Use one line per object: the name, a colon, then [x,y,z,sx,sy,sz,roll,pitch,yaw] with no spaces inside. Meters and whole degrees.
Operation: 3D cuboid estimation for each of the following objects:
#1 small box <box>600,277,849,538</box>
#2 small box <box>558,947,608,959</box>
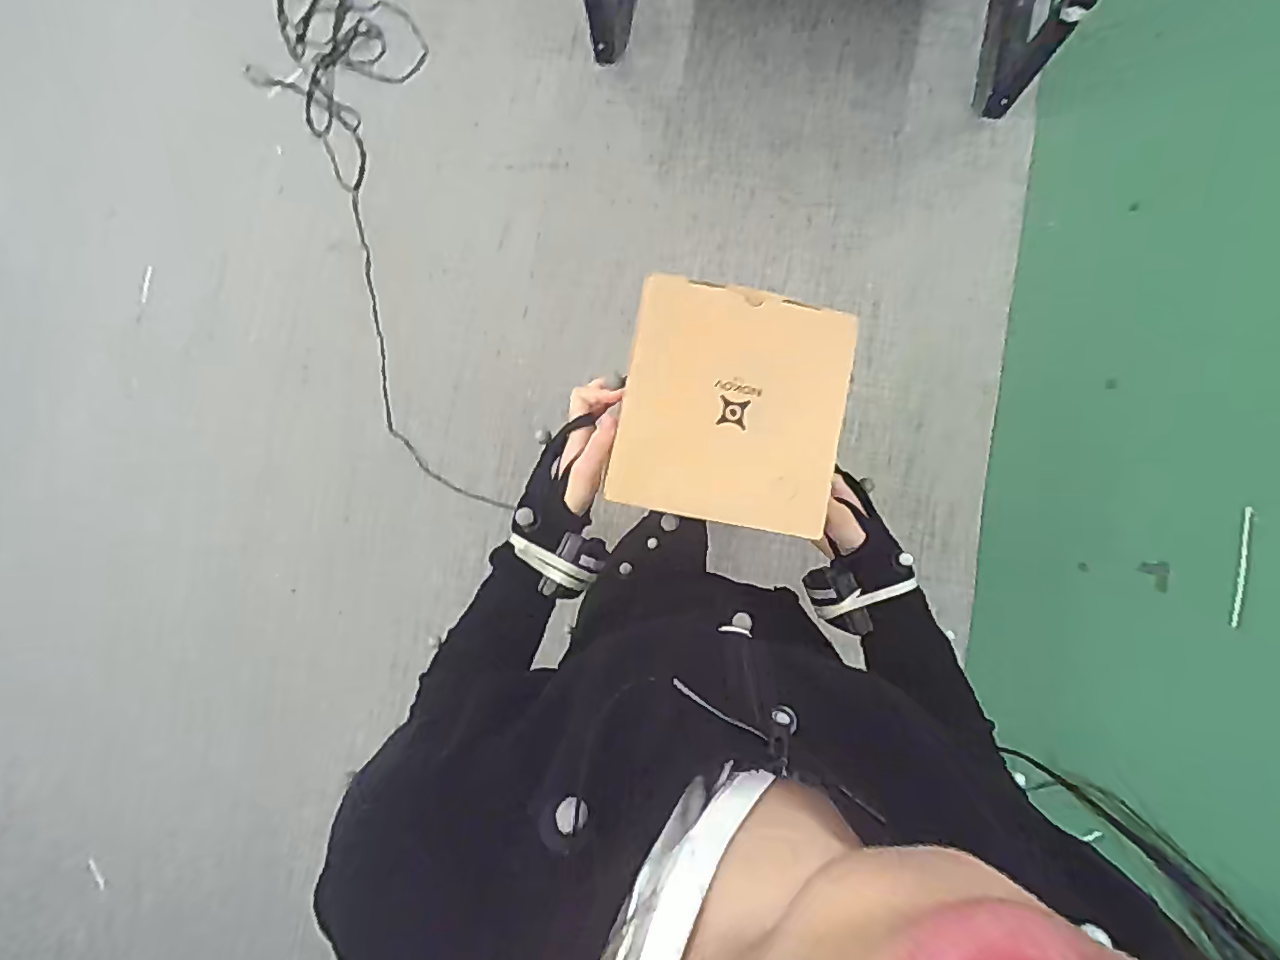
small box: [0.063,-0.051,0.488,0.168,0.176,0.179,11,86,-3]
small box: [-0.150,1.331,1.353,0.168,0.176,0.179,10,86,5]
